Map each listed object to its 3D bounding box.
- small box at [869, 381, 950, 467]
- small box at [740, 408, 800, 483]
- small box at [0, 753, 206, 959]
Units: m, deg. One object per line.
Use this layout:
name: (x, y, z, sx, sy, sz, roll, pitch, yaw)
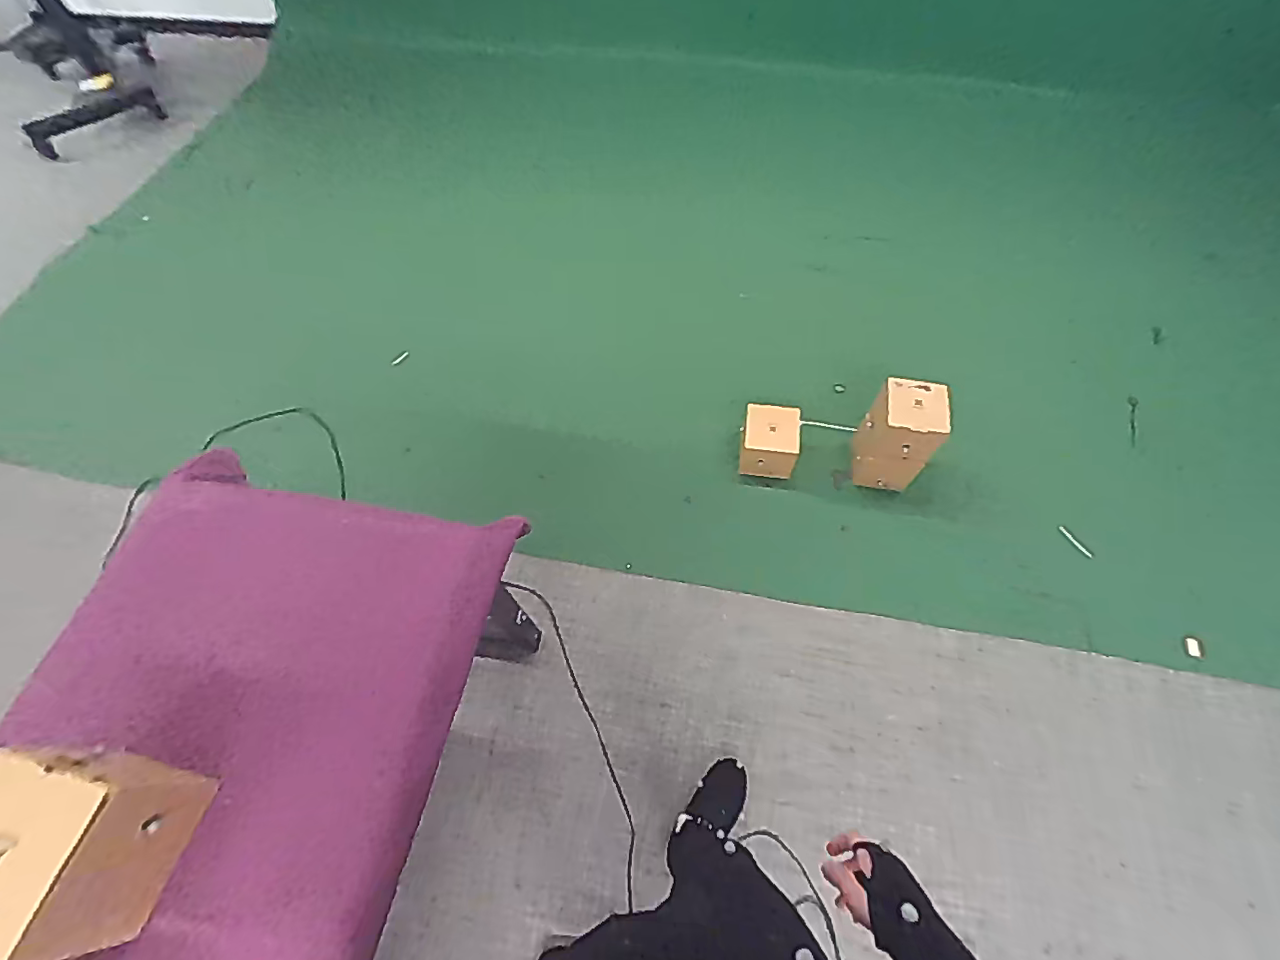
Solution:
small box: (0.784, -0.159, 1.586, 0.168, 0.176, 0.179, 11, 63, 7)
small box: (0.420, -0.108, 1.759, 0.168, 0.176, 0.179, 7, 60, 6)
small box: (-0.678, 0.445, 0.644, 0.168, 0.176, 0.179, 12, 62, 9)
